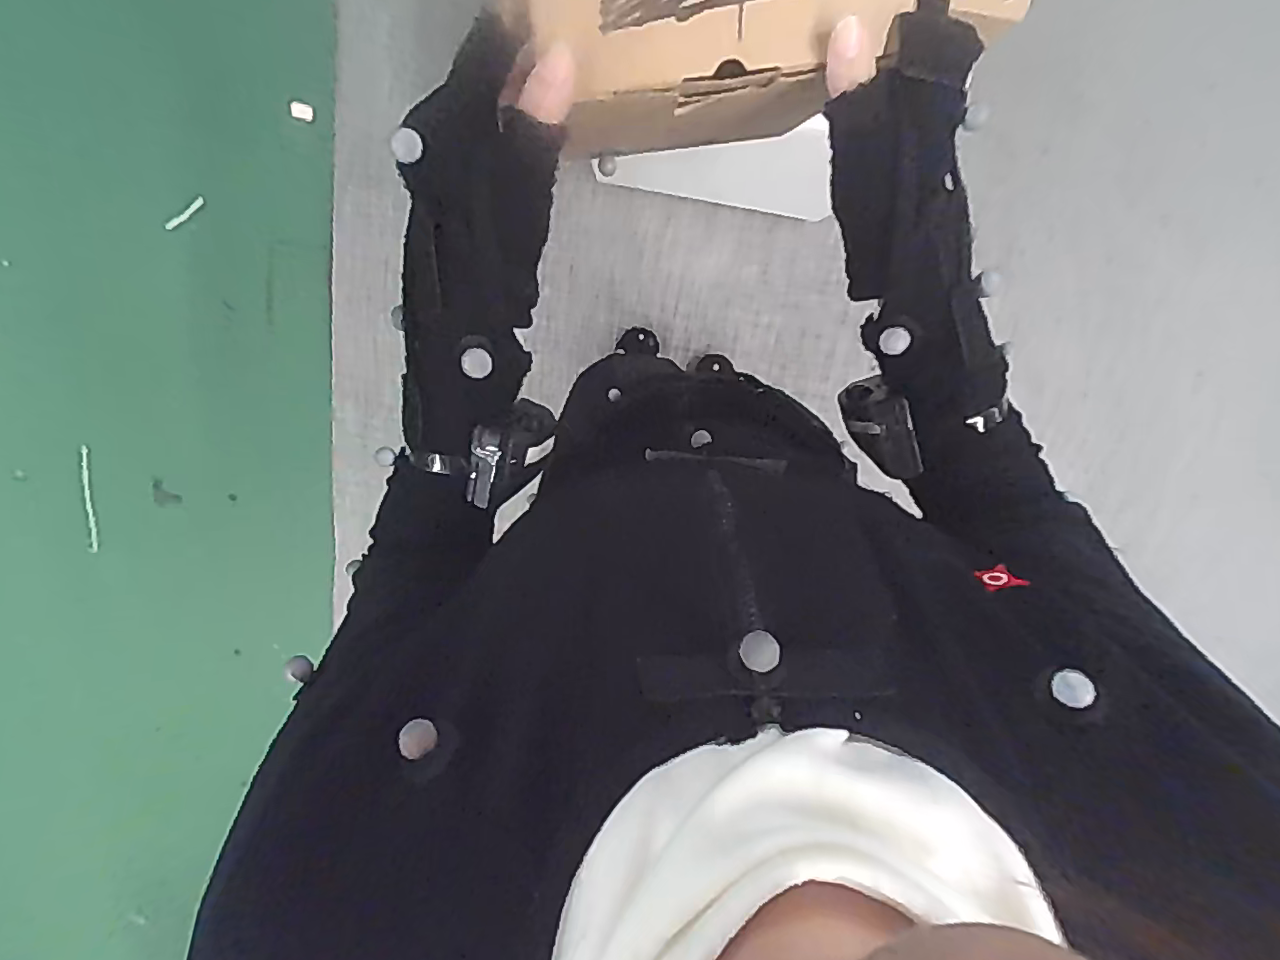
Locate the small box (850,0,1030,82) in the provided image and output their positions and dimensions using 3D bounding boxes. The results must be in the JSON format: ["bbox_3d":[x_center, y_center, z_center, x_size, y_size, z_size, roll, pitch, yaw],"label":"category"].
[{"bbox_3d":[0.305,-0.565,0.569,0.168,0.176,0.179,9,107,-2],"label":"small box"}]

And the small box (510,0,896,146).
[{"bbox_3d":[0.015,-0.287,0.276,0.168,0.176,0.179,-9,112,-2],"label":"small box"}]
